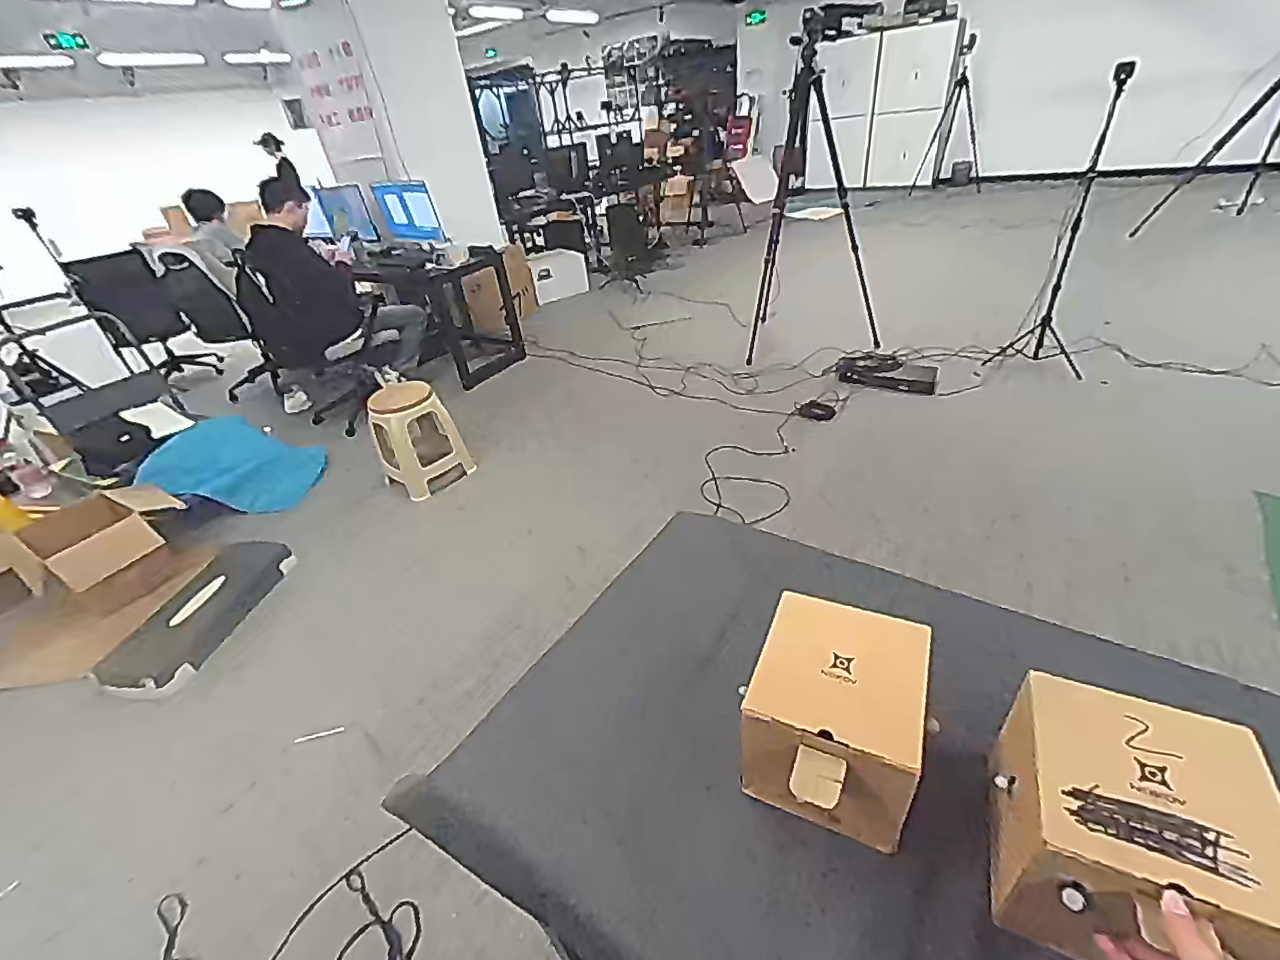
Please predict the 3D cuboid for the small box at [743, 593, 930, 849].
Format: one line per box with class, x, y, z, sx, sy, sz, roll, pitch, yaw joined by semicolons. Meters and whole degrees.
small box;0.218;0.265;0.613;0.168;0.176;0.179;10;38;24
